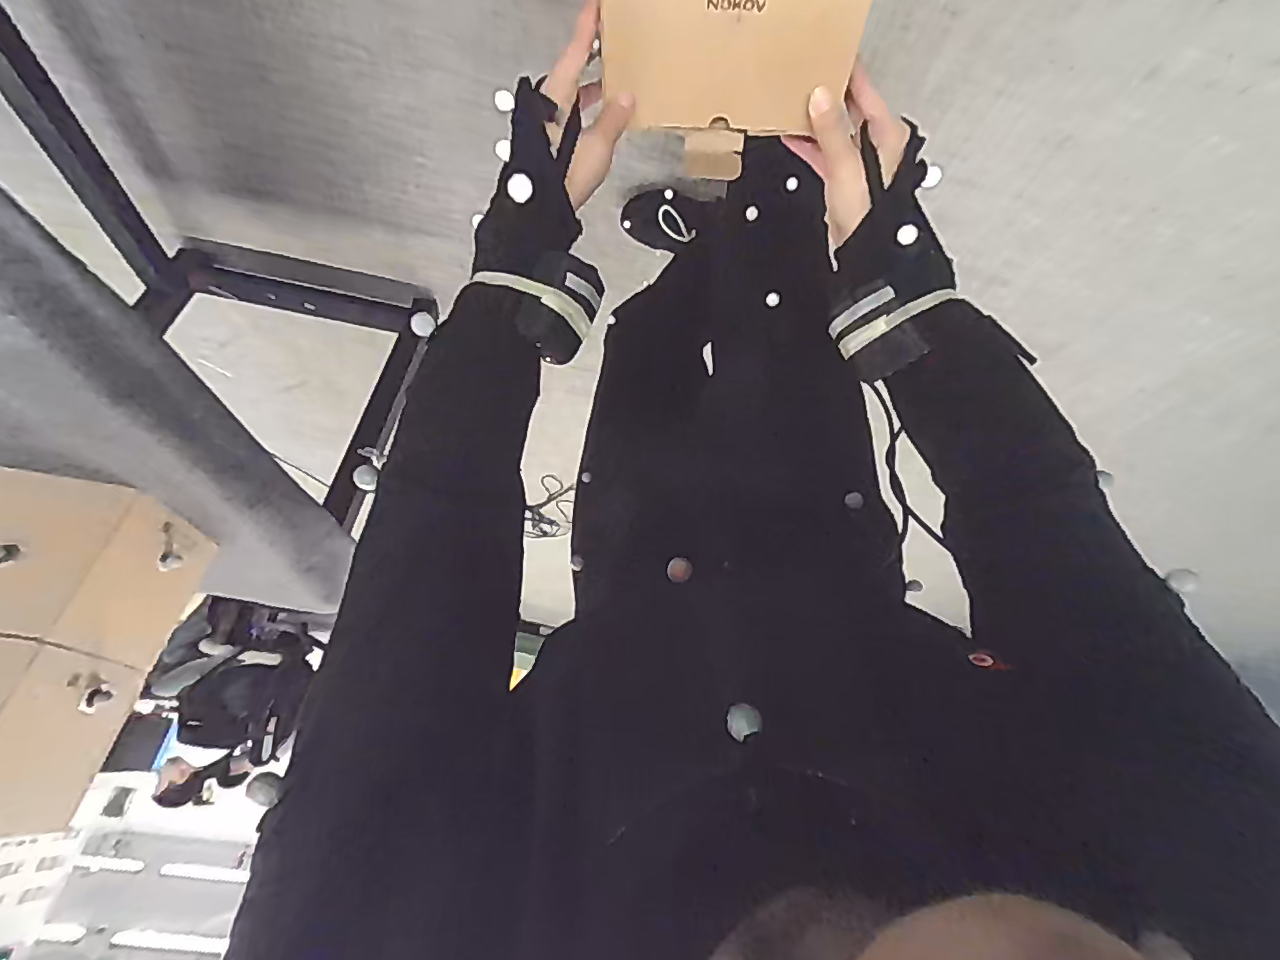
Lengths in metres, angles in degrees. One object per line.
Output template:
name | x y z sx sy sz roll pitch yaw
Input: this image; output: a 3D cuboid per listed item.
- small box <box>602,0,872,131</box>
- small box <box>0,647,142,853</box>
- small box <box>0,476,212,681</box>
small box | 0.059 -0.366 0.353 0.168 0.176 0.179 2 150 -1
small box | -0.655 0.250 0.518 0.179 0.176 0.168 9 151 -5
small box | -0.639 0.111 0.600 0.179 0.176 0.168 9 150 -5
